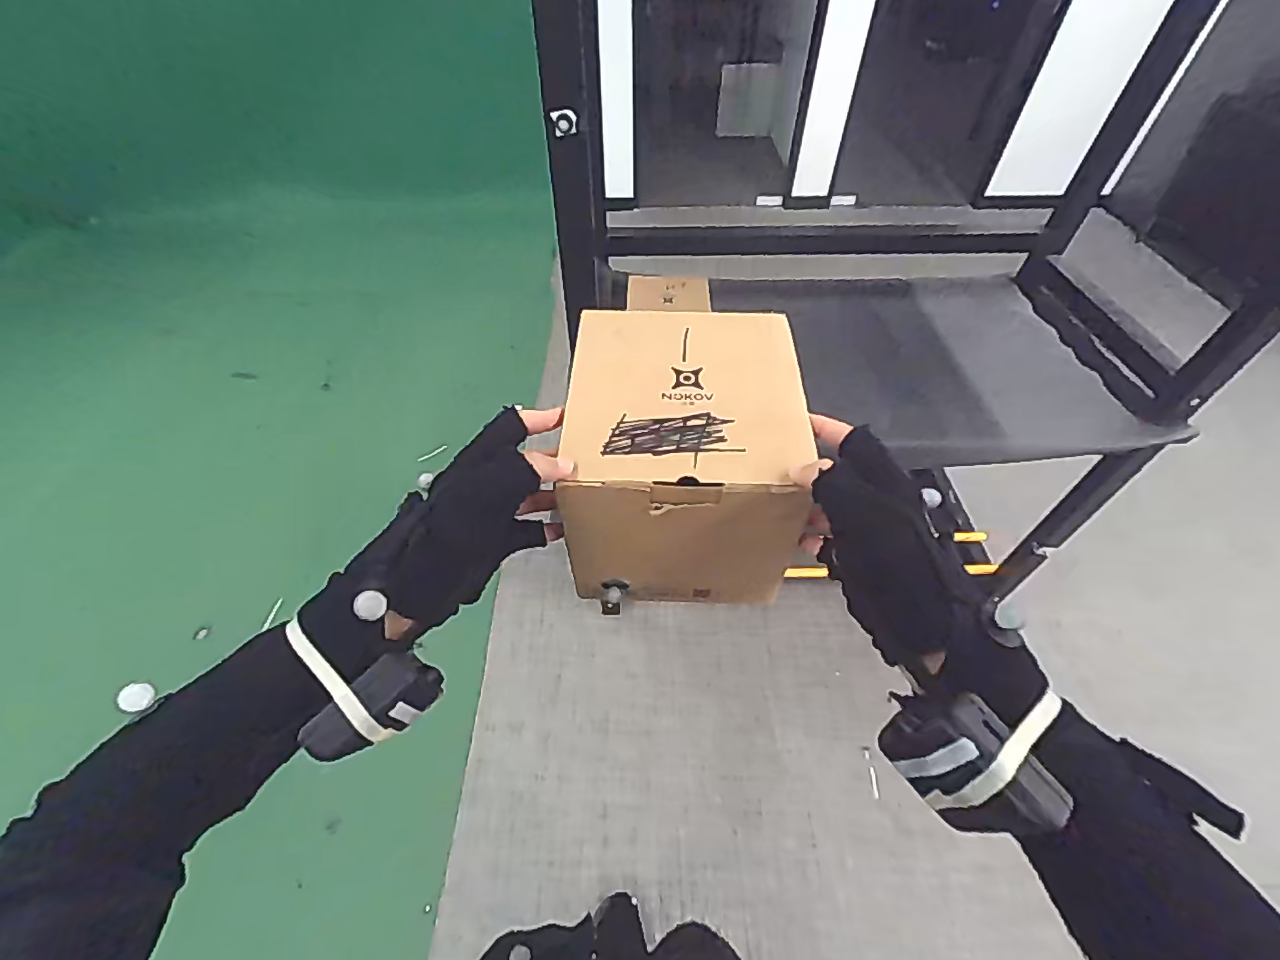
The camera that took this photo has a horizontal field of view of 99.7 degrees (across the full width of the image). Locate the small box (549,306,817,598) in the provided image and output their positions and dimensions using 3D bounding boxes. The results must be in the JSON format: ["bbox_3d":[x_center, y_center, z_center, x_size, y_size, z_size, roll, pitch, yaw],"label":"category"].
[{"bbox_3d":[0.030,-0.018,0.437,0.168,0.176,0.179,2,51,1],"label":"small box"}]

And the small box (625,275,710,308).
[{"bbox_3d":[0.054,-0.302,1.116,0.168,0.176,0.179,2,49,0],"label":"small box"}]
